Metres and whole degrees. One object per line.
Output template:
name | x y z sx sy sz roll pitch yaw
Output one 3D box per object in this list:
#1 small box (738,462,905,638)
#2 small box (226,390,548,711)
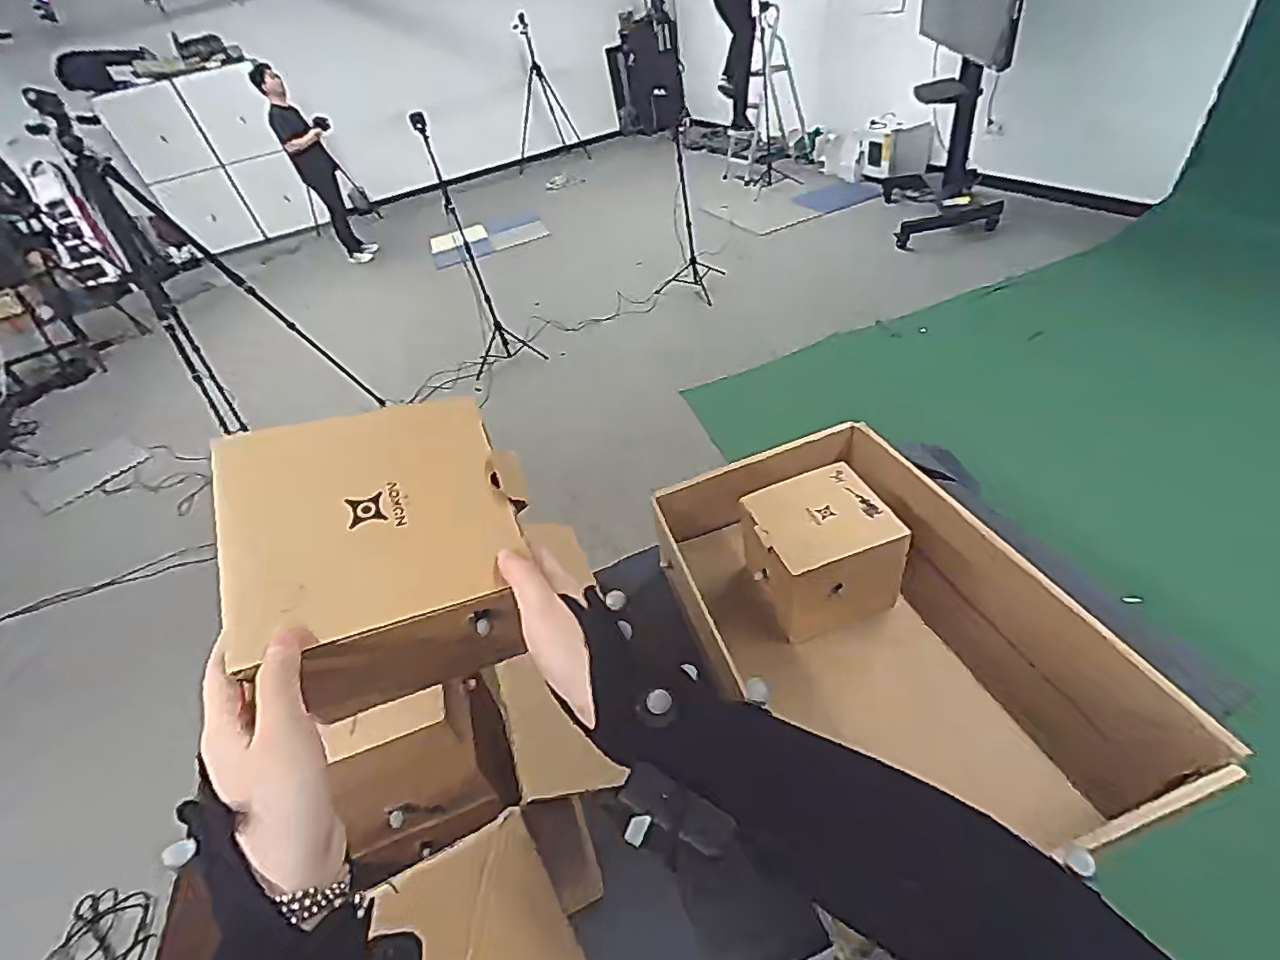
small box | 0.267 0.108 0.815 0.179 0.176 0.168 -20 42 -4
small box | -0.182 0.058 0.421 0.179 0.176 0.168 -15 63 -22
